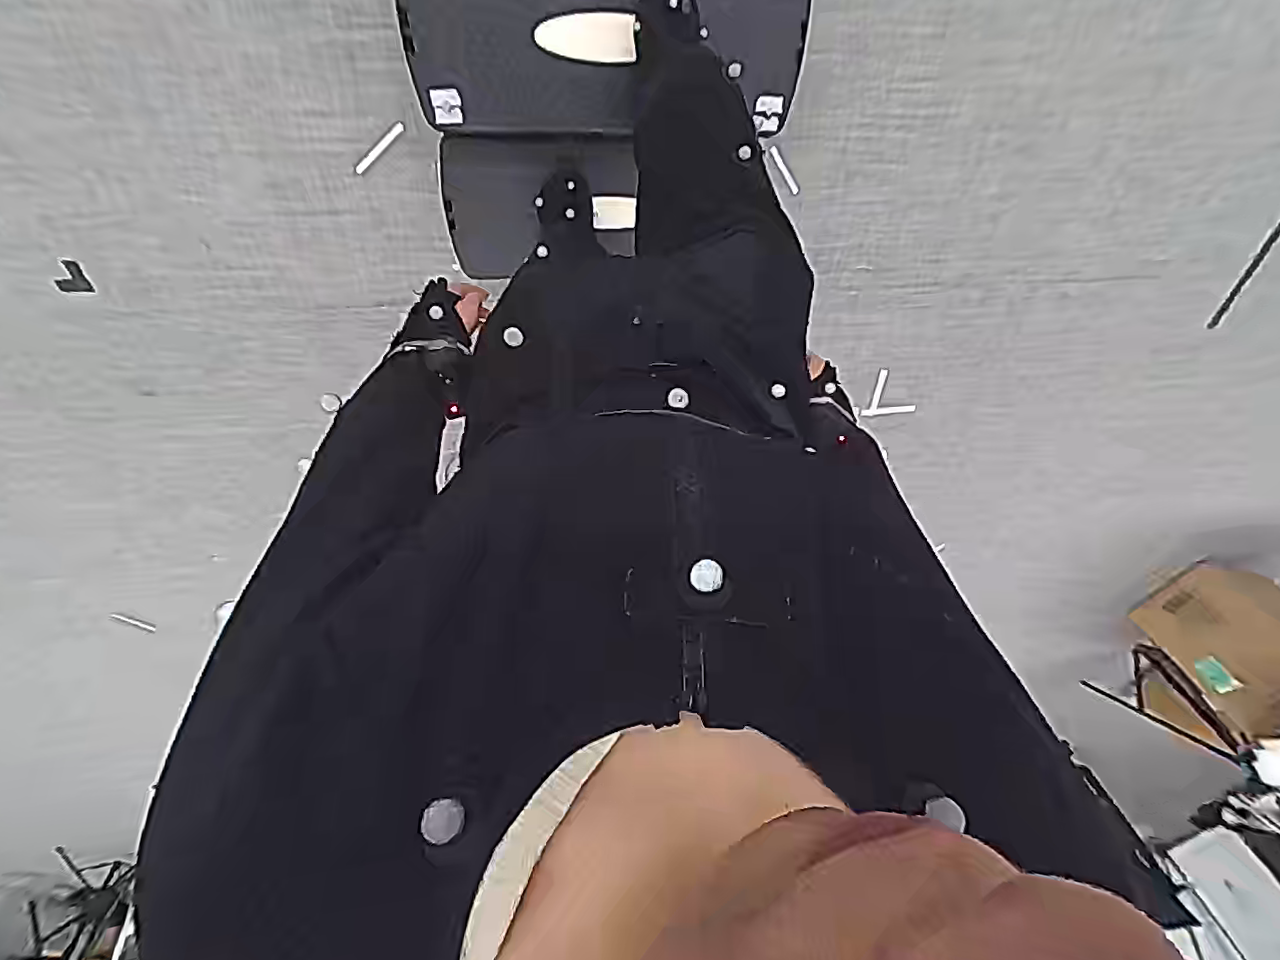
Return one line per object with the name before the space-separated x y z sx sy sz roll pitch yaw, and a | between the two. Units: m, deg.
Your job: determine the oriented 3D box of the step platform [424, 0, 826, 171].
step platform | -0.026 -0.753 0.979 0.684 0.204 0.286 0 128 -10
